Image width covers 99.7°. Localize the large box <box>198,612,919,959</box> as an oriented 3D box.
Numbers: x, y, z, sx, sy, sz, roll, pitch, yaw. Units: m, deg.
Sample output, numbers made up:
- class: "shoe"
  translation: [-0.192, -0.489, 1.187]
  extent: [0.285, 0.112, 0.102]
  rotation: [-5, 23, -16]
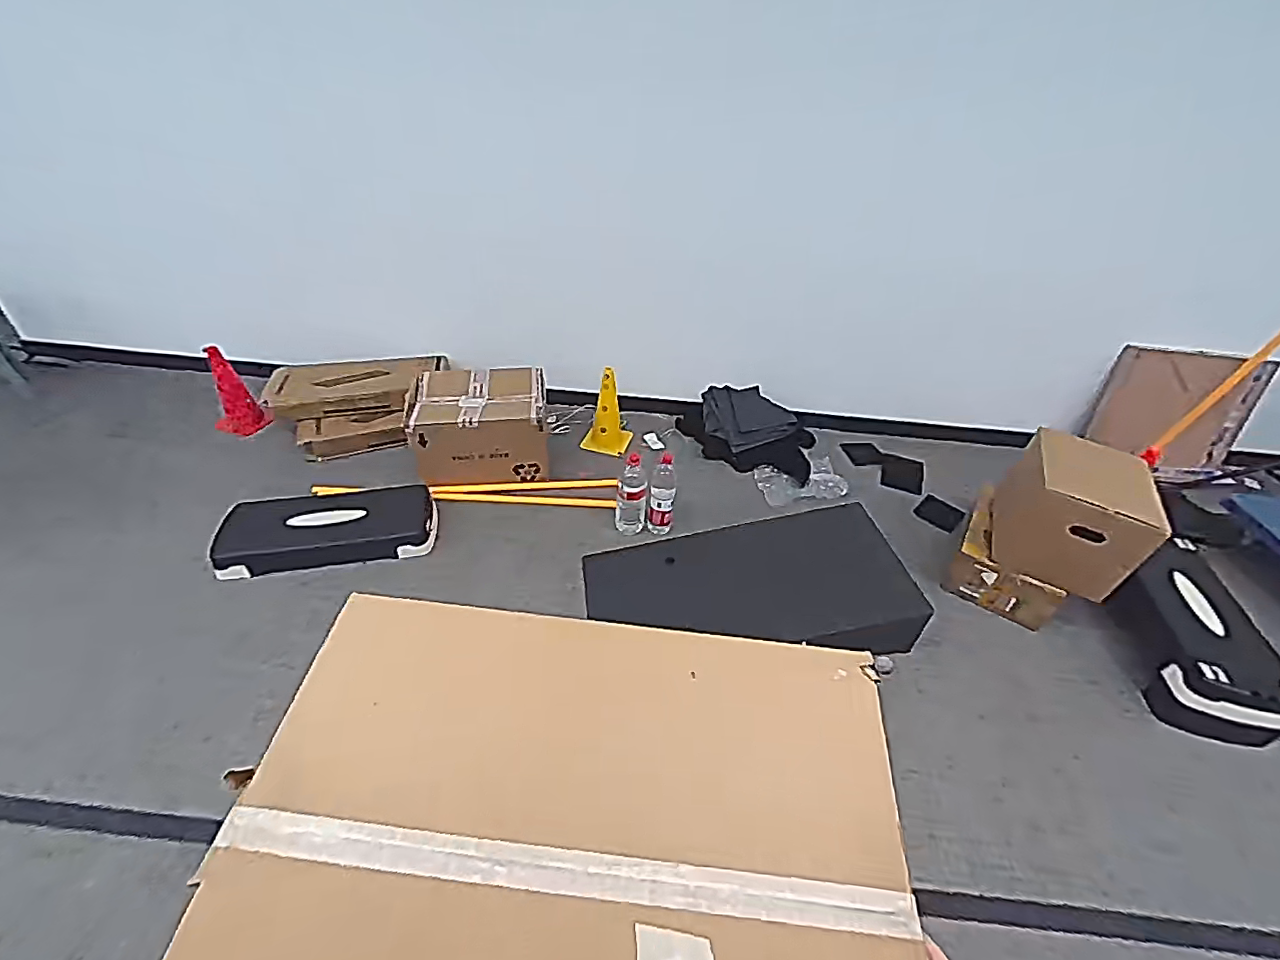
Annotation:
- class: "large box"
  translation: [-0.045, 0.335, 0.436]
  extent: [0.408, 0.320, 0.320]
  rotation: [6, 50, 2]
